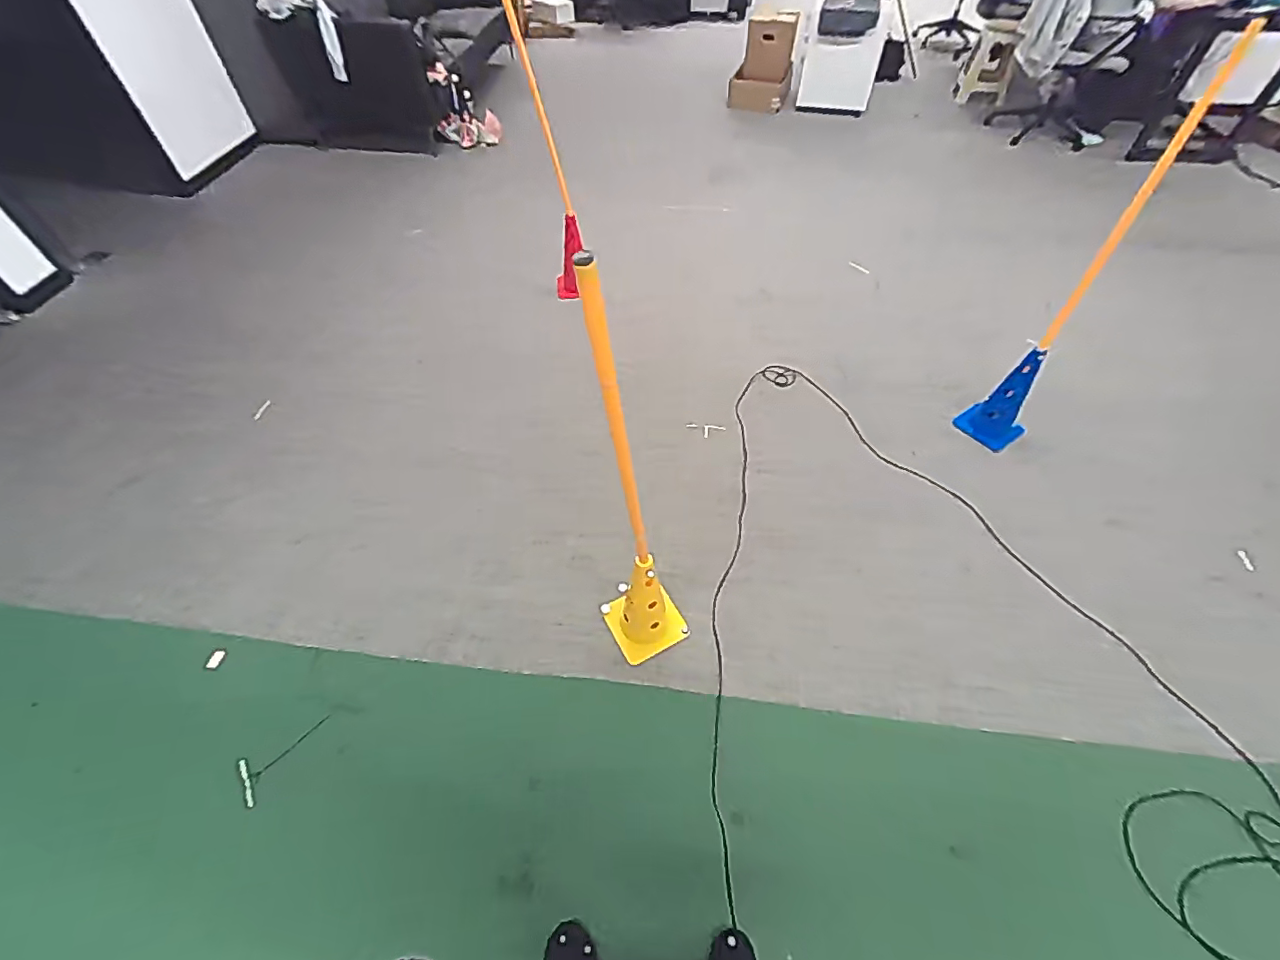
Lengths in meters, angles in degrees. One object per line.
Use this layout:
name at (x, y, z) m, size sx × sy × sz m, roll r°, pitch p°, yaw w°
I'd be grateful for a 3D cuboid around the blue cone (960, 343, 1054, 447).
blue cone at (1.317, -0.318, 1.896) m, size 0.193 × 0.380 × 0.192 m, roll -30°, pitch 56°, yaw -23°
